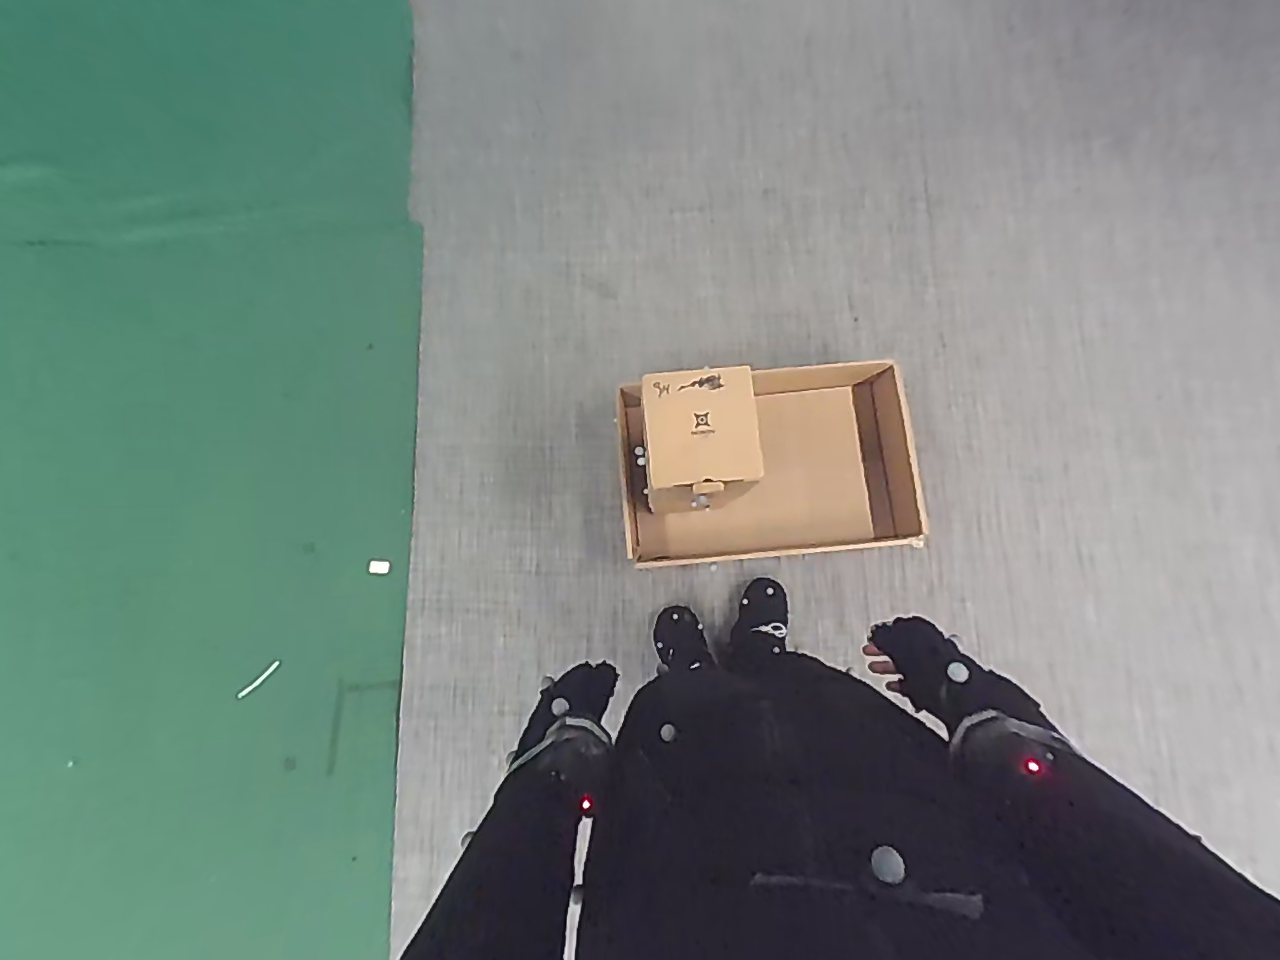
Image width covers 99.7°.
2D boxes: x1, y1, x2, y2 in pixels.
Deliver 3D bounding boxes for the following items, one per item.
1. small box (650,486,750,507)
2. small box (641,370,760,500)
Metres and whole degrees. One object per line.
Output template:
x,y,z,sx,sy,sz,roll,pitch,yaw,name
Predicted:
0.103,-0.042,1.042,0.179,0.176,0.168,-5,81,1,small box
0.092,-0.063,0.880,0.168,0.176,0.179,-5,81,1,small box
